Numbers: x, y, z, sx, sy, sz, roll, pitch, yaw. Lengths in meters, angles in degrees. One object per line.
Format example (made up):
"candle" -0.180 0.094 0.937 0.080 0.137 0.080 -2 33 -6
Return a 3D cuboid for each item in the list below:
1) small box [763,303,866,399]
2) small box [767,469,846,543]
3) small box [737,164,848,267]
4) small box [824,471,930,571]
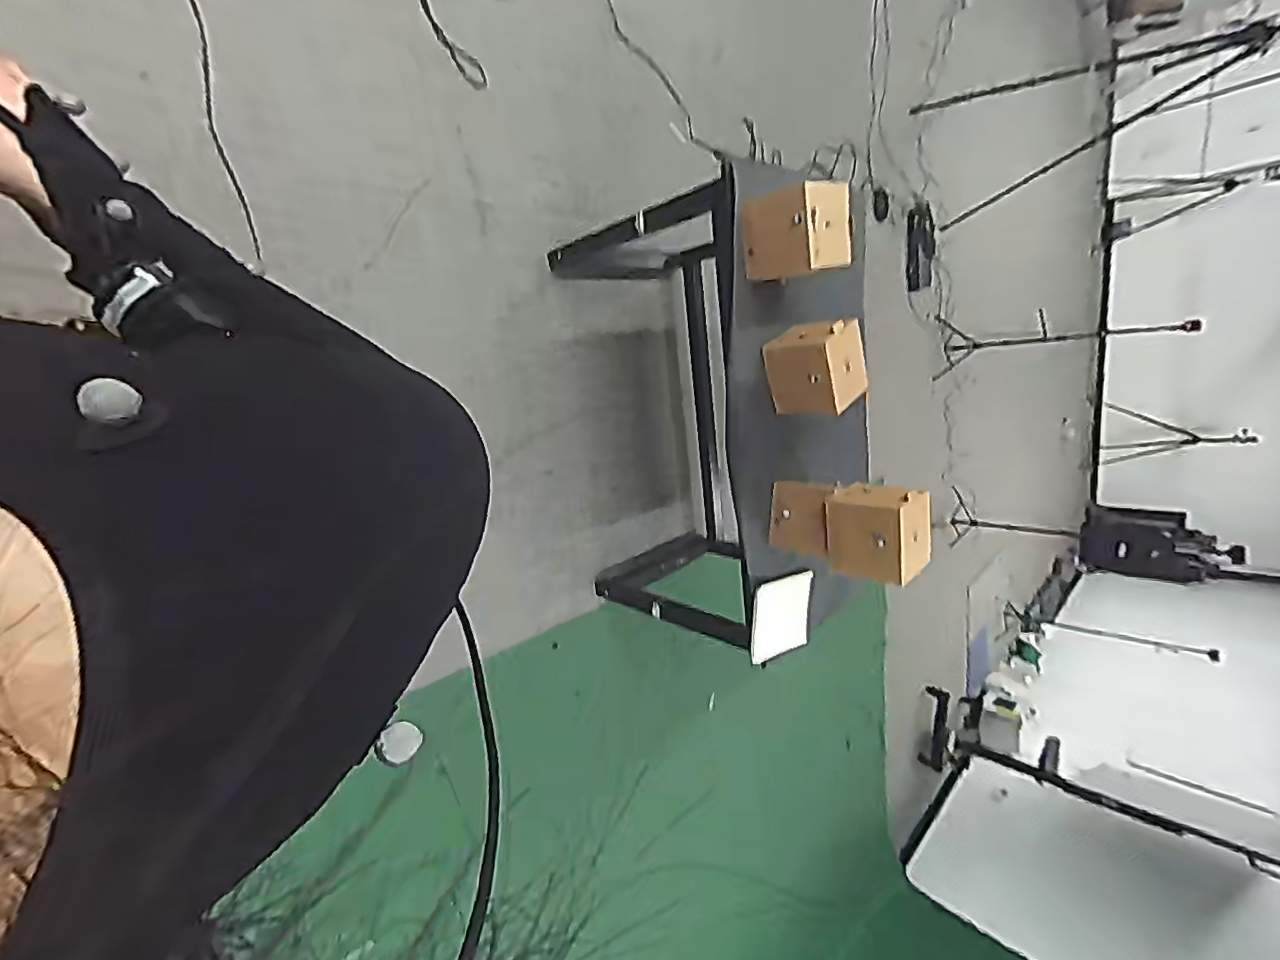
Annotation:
"small box" 0.417 -0.304 1.300 0.168 0.176 0.179 -36 118 -33
"small box" 0.445 0.062 1.362 0.179 0.176 0.168 3 92 -42
"small box" 0.337 -0.577 1.193 0.179 0.176 0.168 -24 111 -38
"small box" 0.537 0.083 1.227 0.168 0.176 0.179 -19 106 -40
